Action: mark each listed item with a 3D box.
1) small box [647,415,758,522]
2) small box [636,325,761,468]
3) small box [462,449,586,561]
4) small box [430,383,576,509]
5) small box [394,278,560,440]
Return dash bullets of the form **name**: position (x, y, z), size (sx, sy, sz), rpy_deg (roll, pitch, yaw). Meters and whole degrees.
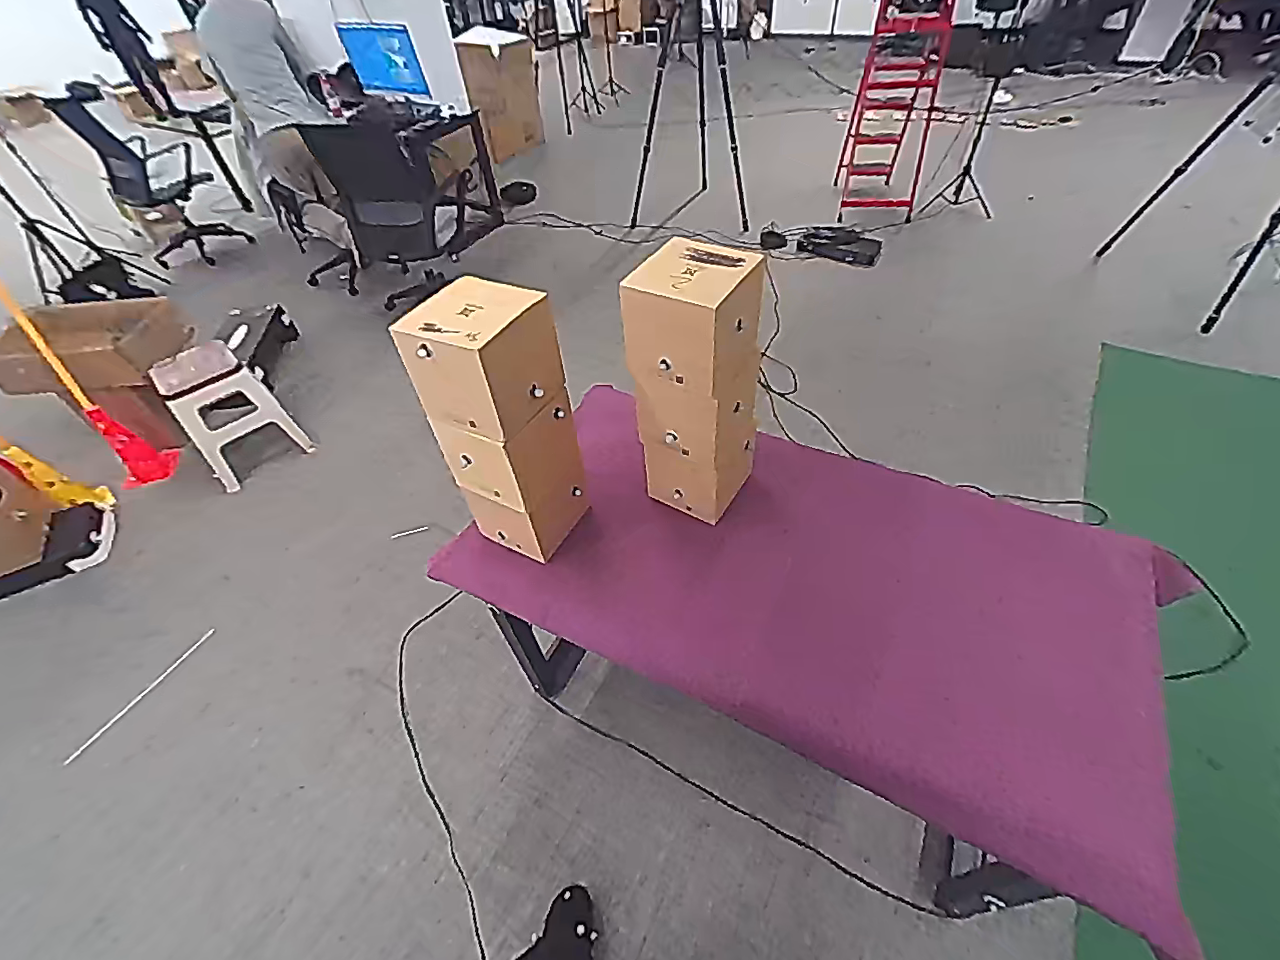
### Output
- **small box**: position (0.128, -0.047, 1.129), size (0.168, 0.176, 0.179), rpy_deg (24, 55, 25)
- **small box**: position (0.108, -0.156, 1.007), size (0.168, 0.176, 0.179), rpy_deg (23, 54, 24)
- **small box**: position (-0.222, 0.029, 1.093), size (0.168, 0.176, 0.179), rpy_deg (20, 52, 22)
- **small box**: position (-0.232, -0.076, 0.970), size (0.168, 0.176, 0.179), rpy_deg (20, 50, 23)
- **small box**: position (-0.242, -0.193, 0.854), size (0.168, 0.176, 0.179), rpy_deg (18, 49, 22)
